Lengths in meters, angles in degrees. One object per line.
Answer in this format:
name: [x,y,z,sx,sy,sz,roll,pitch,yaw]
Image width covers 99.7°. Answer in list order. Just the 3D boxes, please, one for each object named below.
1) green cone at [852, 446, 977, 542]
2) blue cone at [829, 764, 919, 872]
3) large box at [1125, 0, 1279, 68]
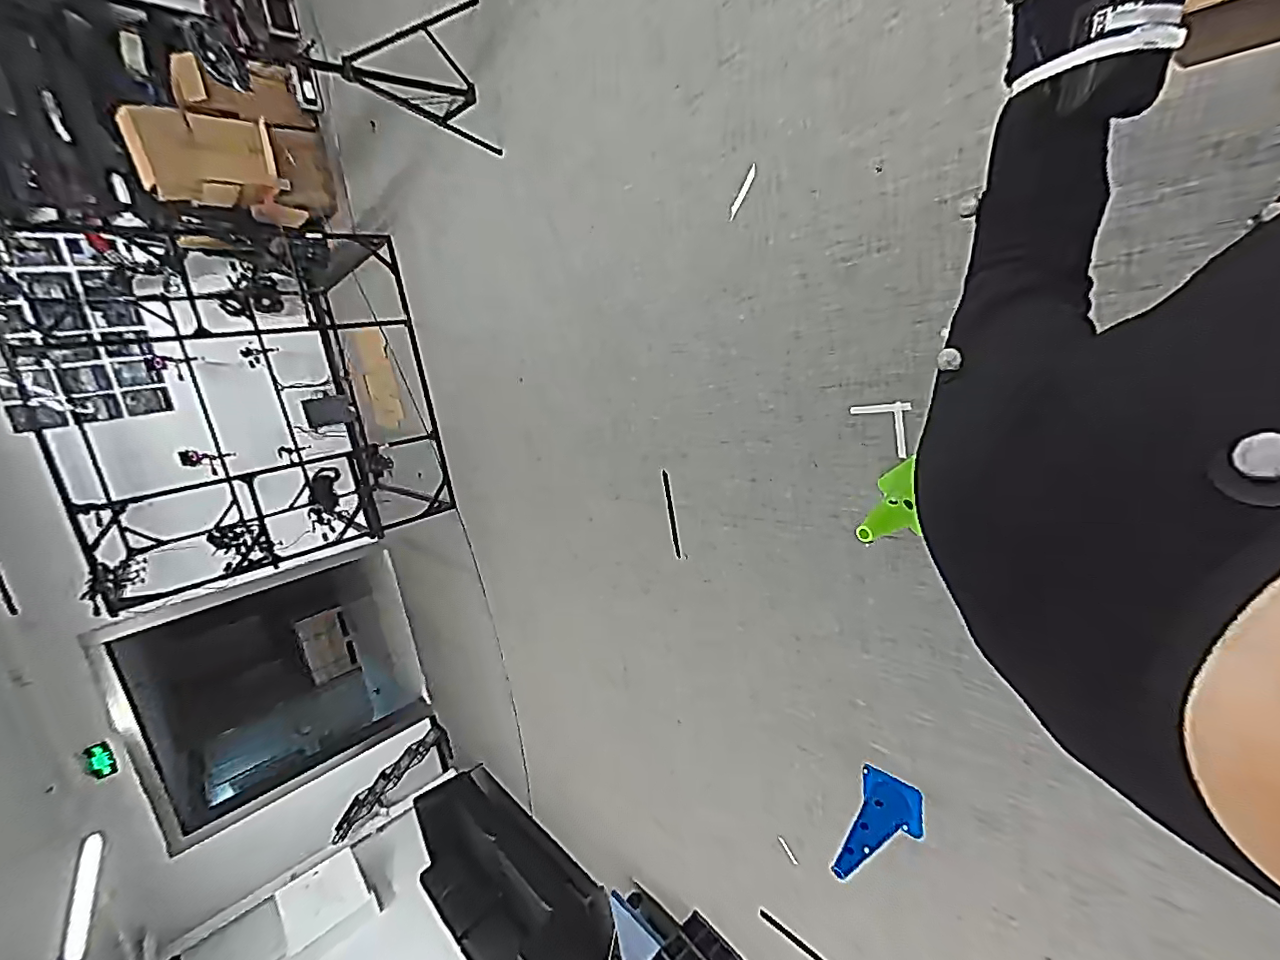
green cone: [0.657,0.074,1.385,0.200,0.368,0.202,58,142,17]
blue cone: [0.742,1.138,1.763,0.192,0.380,0.193,11,114,49]
large box: [0.530,-0.467,0.254,0.408,0.320,0.320,12,121,46]
